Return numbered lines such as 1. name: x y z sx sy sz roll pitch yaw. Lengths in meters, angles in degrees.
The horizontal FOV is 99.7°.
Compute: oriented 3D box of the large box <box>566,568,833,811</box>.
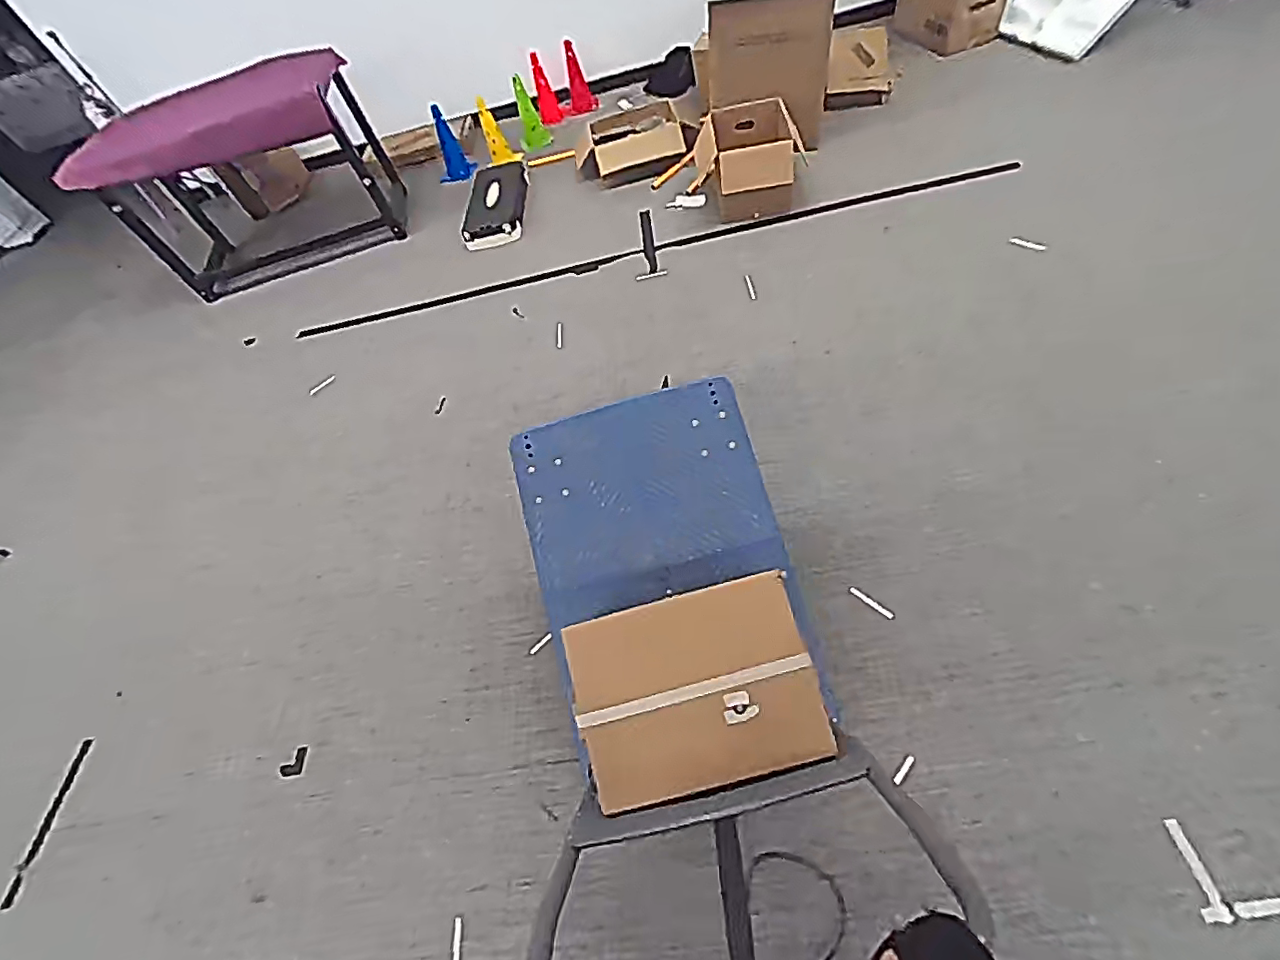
1. large box: 0.105 0.392 1.085 0.408 0.320 0.320 -17 78 0
